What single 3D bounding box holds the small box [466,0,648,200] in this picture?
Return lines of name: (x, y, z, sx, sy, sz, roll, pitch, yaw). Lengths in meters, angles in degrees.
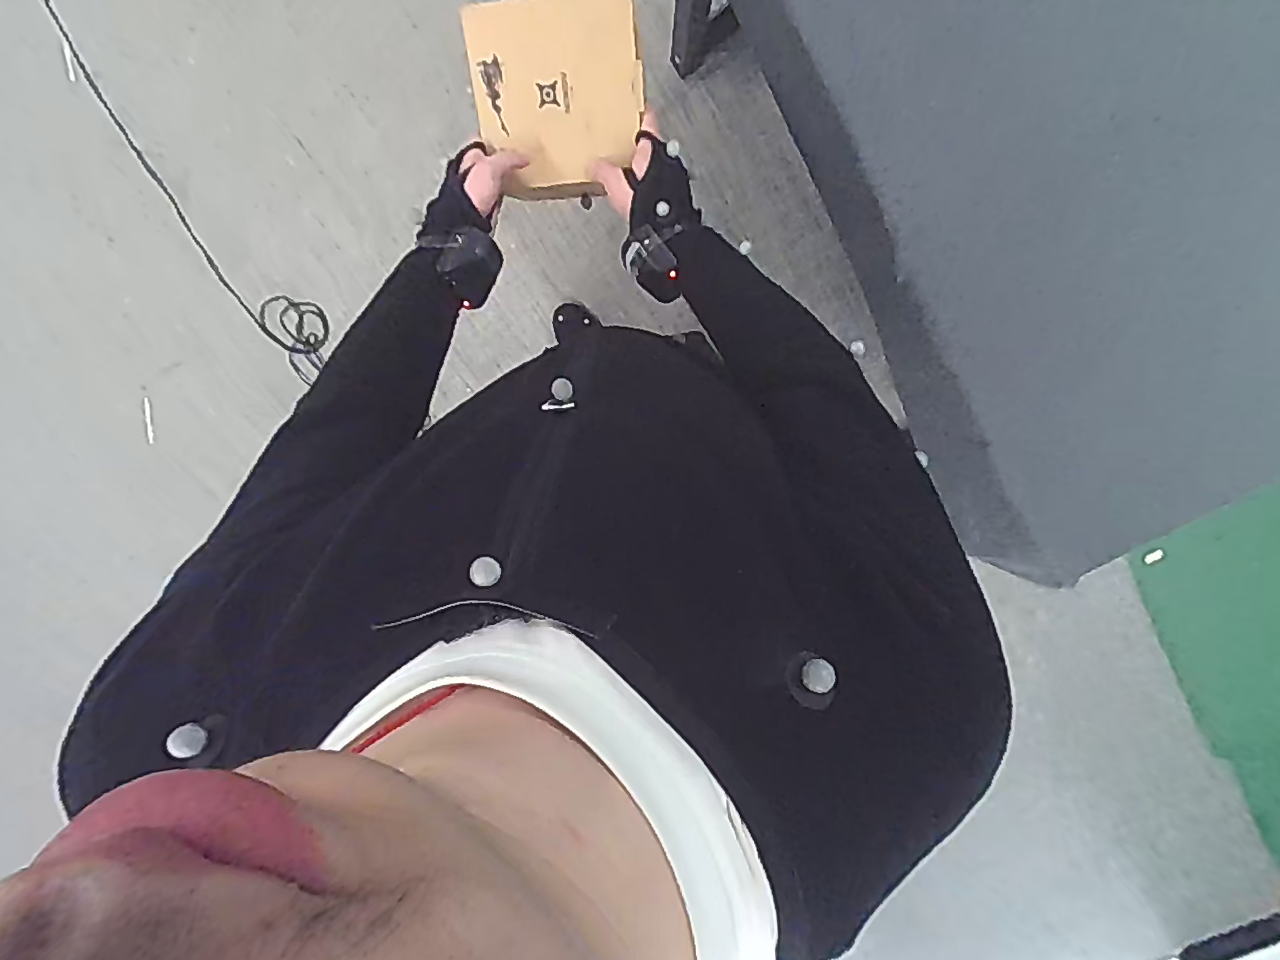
small box: (-0.081, -0.429, 0.635, 0.179, 0.176, 0.168, -2, 114, 4)
